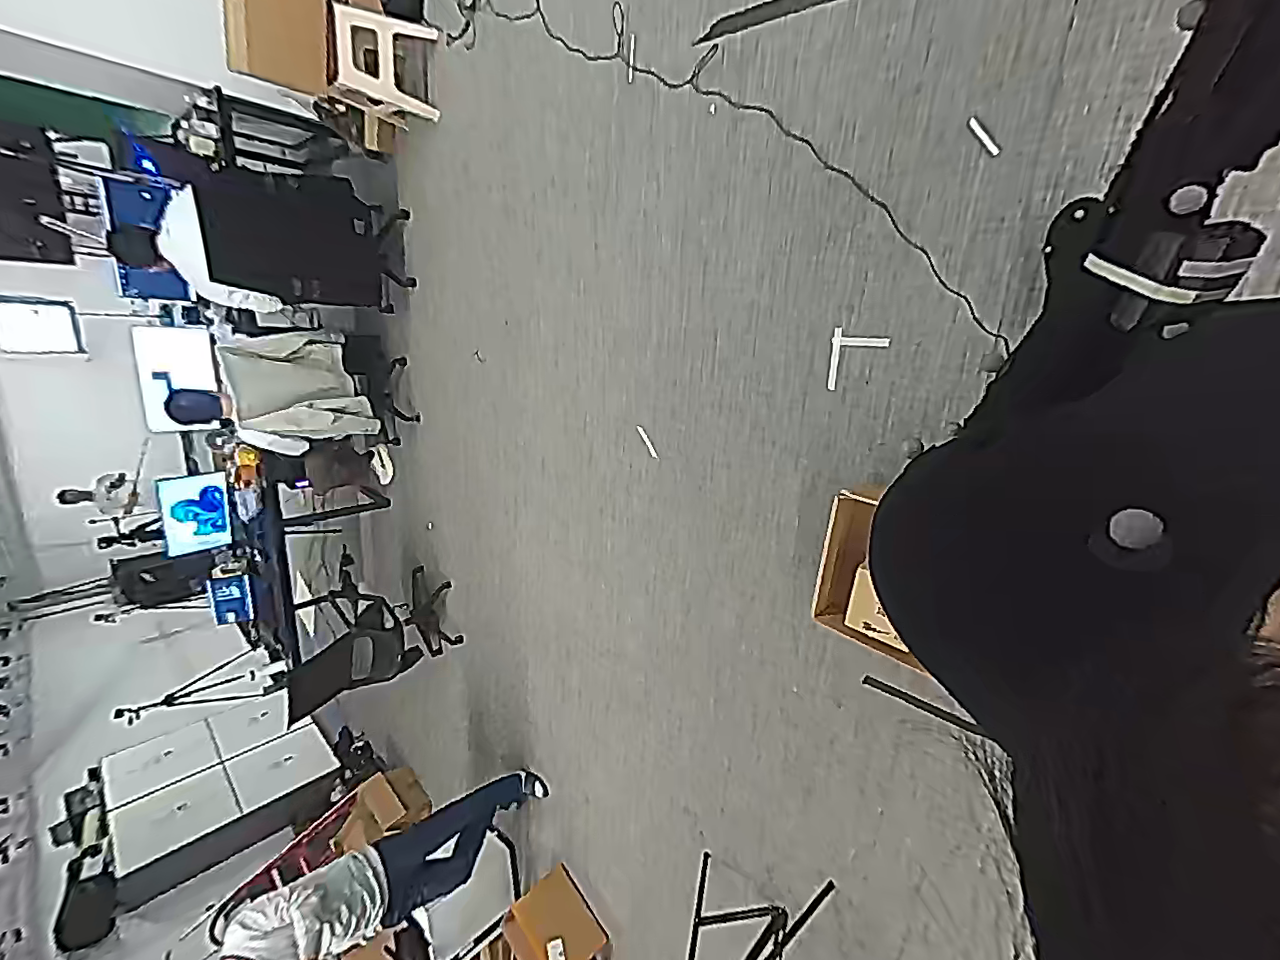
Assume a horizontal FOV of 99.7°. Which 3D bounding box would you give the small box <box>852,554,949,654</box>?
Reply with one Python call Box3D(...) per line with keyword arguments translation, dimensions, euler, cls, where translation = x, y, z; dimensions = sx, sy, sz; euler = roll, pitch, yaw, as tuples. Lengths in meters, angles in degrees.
Box3D(translation=(0.678, 0.309, 1.399), dimensions=(0.168, 0.176, 0.179), euler=(21, 112, 39), cls="small box")
